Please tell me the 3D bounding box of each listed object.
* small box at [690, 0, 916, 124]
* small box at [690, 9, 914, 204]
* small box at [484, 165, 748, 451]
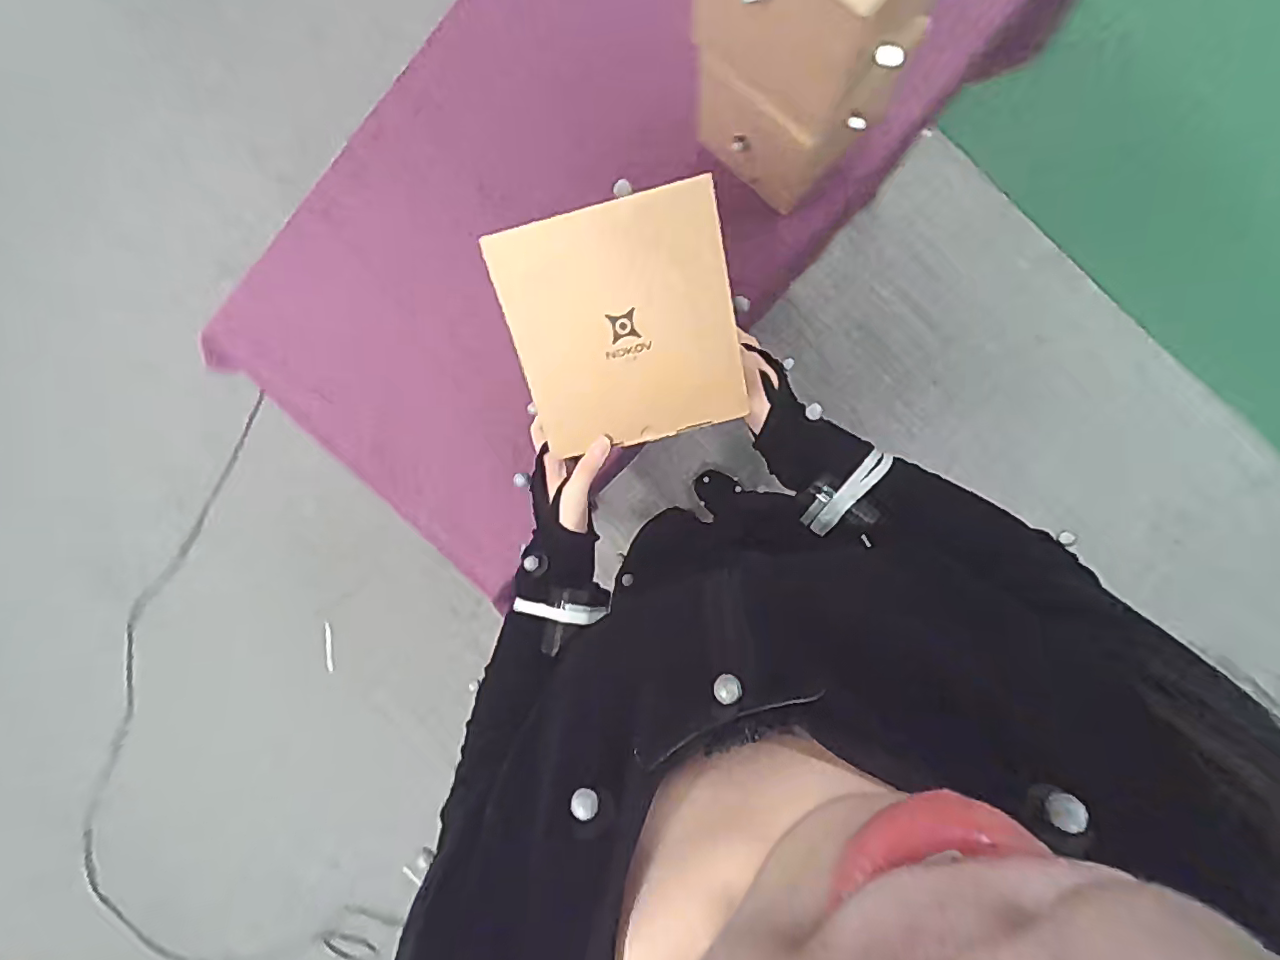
[{"bbox_3d":[0.157,-0.477,0.488,0.179,0.176,0.168,41,96,2],"label":"small box"},{"bbox_3d":[0.179,-0.478,0.652,0.168,0.176,0.179,43,95,2],"label":"small box"},{"bbox_3d":[-0.013,-0.149,0.468,0.168,0.176,0.179,-12,116,6],"label":"small box"}]
